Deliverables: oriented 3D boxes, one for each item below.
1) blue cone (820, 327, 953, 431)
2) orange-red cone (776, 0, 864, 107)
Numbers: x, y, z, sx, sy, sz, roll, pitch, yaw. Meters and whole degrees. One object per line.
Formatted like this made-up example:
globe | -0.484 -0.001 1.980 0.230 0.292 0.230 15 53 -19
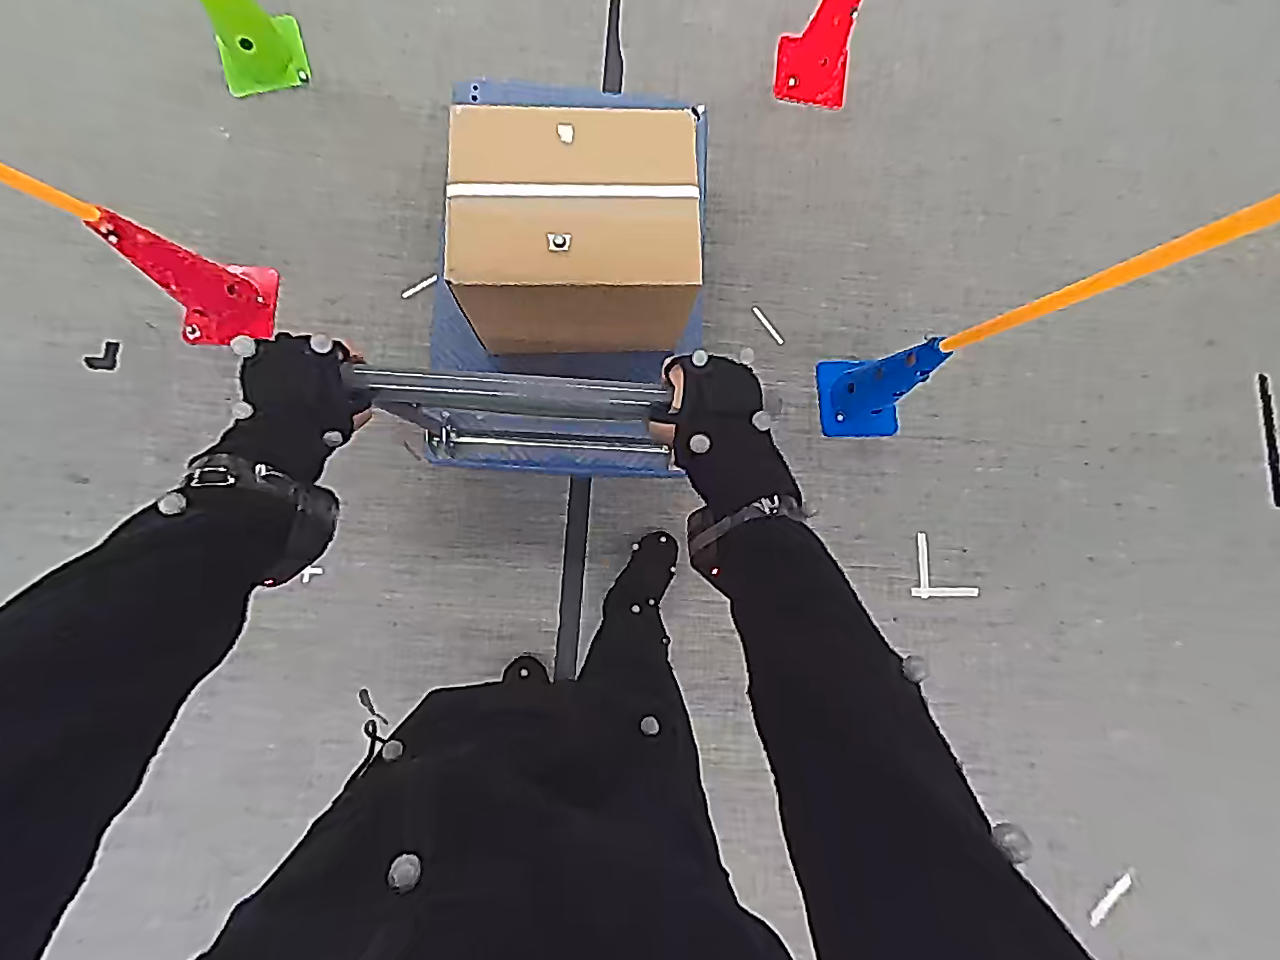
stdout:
blue cone | 0.570 -0.240 1.215 0.193 0.380 0.192 0 82 -5
orange-red cone | 0.491 -1.143 1.308 0.199 0.360 0.198 10 83 -4
